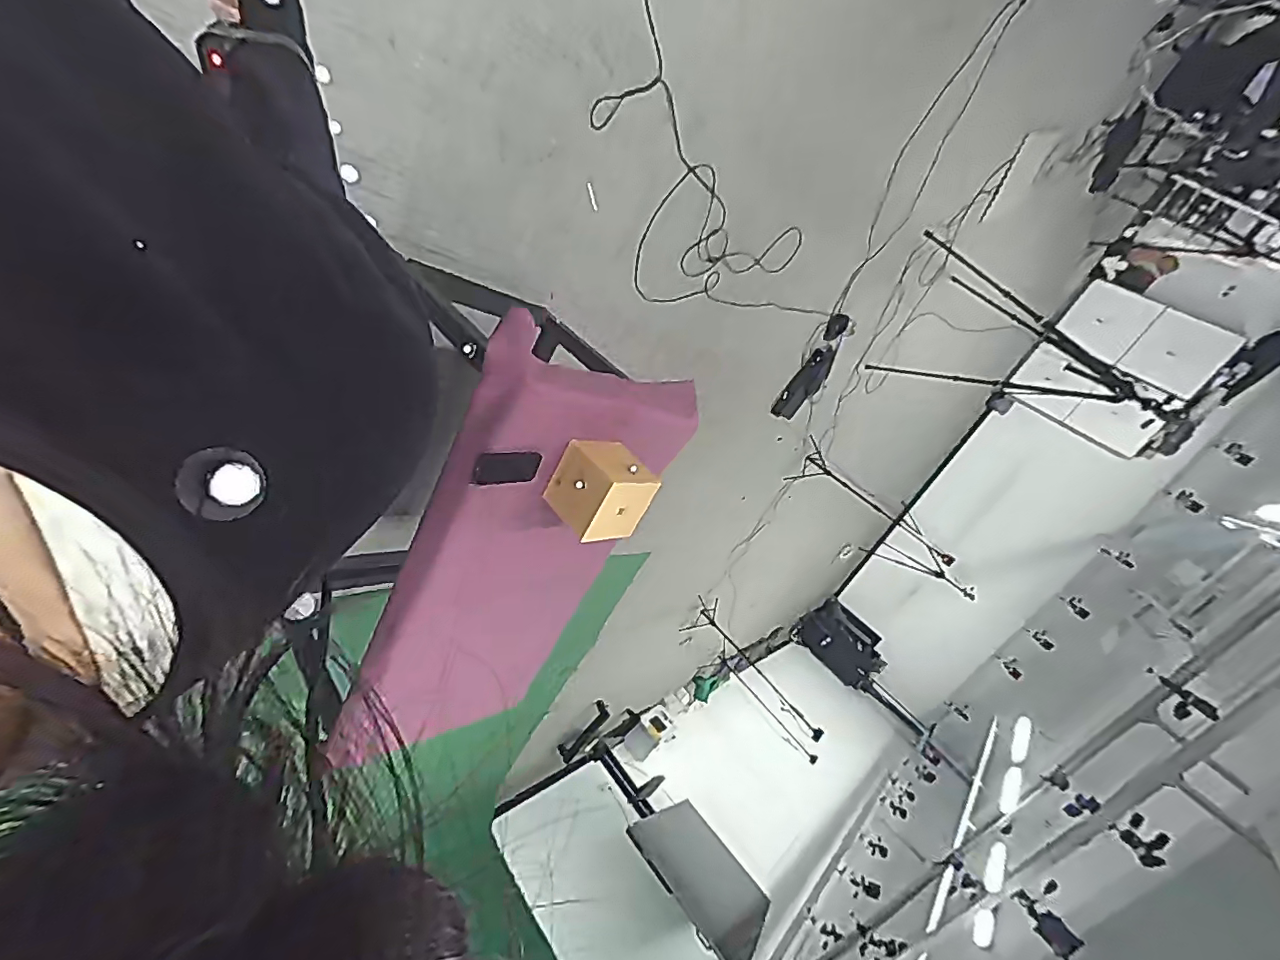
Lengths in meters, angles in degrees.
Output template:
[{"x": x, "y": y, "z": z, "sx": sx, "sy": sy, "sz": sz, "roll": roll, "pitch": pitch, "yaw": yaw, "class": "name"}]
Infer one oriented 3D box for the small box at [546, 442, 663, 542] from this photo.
[{"x": -0.088, "y": 0.023, "z": 1.259, "sx": 0.179, "sy": 0.176, "sz": 0.168, "roll": -1, "pitch": 127, "yaw": -52, "class": "small box"}]
